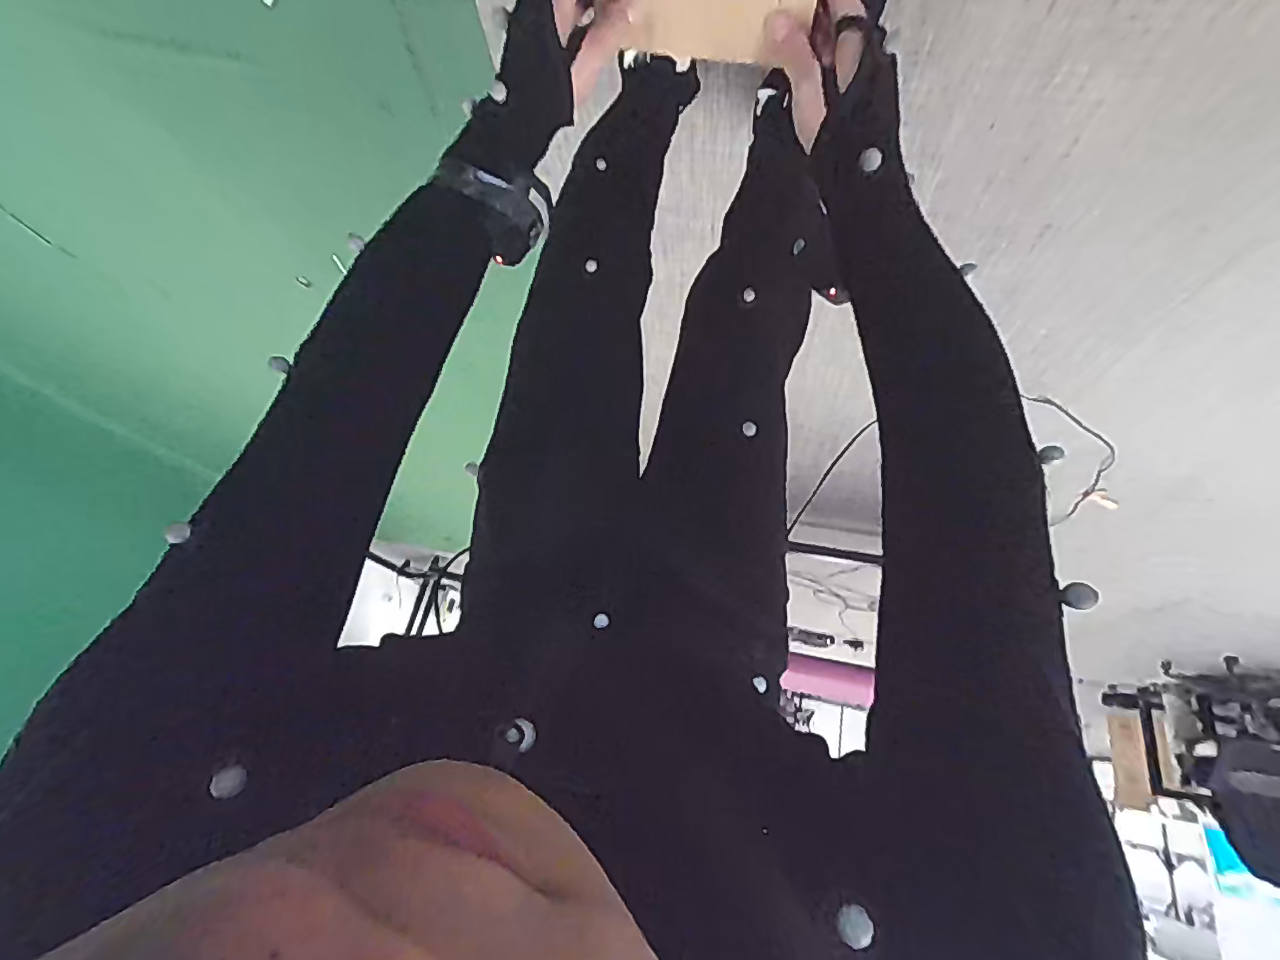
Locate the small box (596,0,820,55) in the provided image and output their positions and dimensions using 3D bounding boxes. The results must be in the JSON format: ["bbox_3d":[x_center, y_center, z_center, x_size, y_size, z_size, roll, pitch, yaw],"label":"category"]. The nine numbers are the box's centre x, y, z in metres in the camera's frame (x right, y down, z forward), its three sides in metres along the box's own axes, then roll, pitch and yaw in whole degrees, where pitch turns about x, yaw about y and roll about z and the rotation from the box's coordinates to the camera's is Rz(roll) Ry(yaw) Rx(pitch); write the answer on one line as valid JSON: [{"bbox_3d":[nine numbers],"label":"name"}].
[{"bbox_3d":[0.069,-0.467,0.413,0.179,0.176,0.168,11,148,4],"label":"small box"}]
